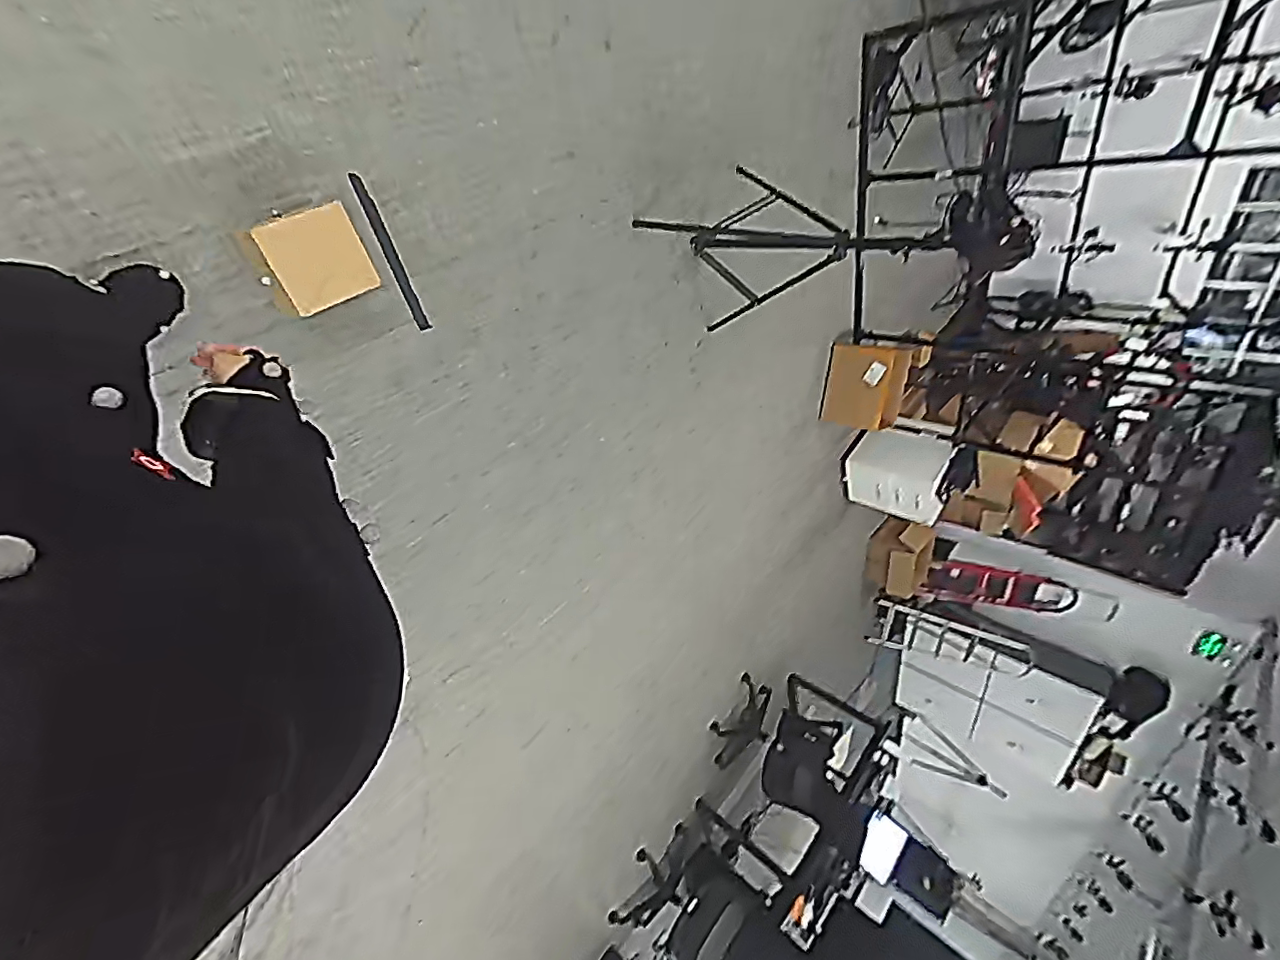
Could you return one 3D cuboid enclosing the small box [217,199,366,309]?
[{"bbox_3d":[-0.698,-0.459,1.097,0.179,0.176,0.168,-41,133,-31],"label":"small box"}]
